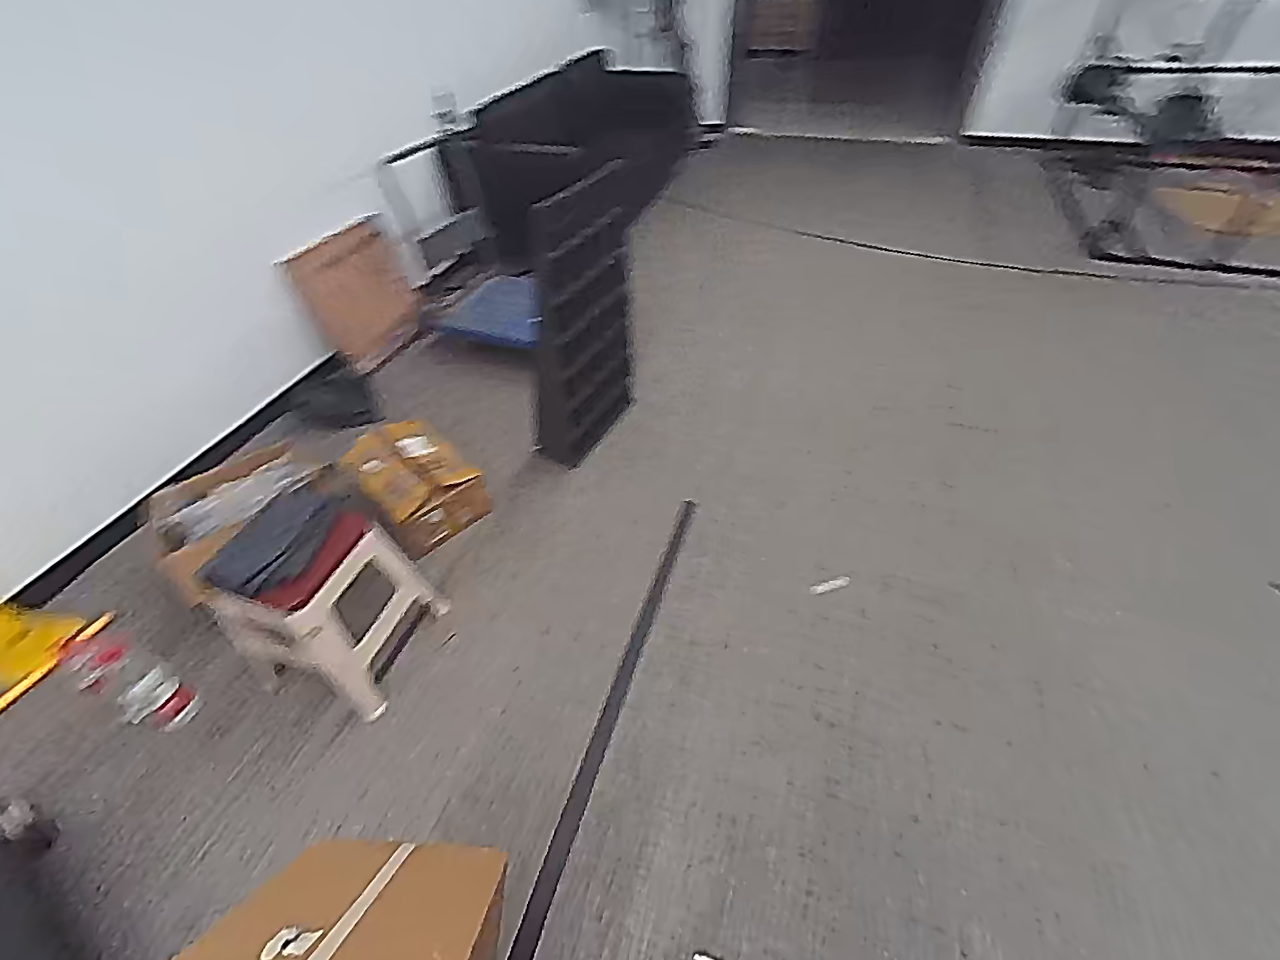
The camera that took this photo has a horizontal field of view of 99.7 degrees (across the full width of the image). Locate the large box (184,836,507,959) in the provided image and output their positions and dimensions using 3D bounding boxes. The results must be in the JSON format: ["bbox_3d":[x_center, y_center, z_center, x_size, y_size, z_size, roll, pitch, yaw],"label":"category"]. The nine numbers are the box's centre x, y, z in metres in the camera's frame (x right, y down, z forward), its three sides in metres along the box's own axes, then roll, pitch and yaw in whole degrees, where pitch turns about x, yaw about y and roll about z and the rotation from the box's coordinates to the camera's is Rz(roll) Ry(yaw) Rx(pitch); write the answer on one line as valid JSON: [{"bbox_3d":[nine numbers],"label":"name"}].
[{"bbox_3d":[-0.370,0.705,0.658,0.320,0.408,0.320,5,79,-1],"label":"large box"}]
